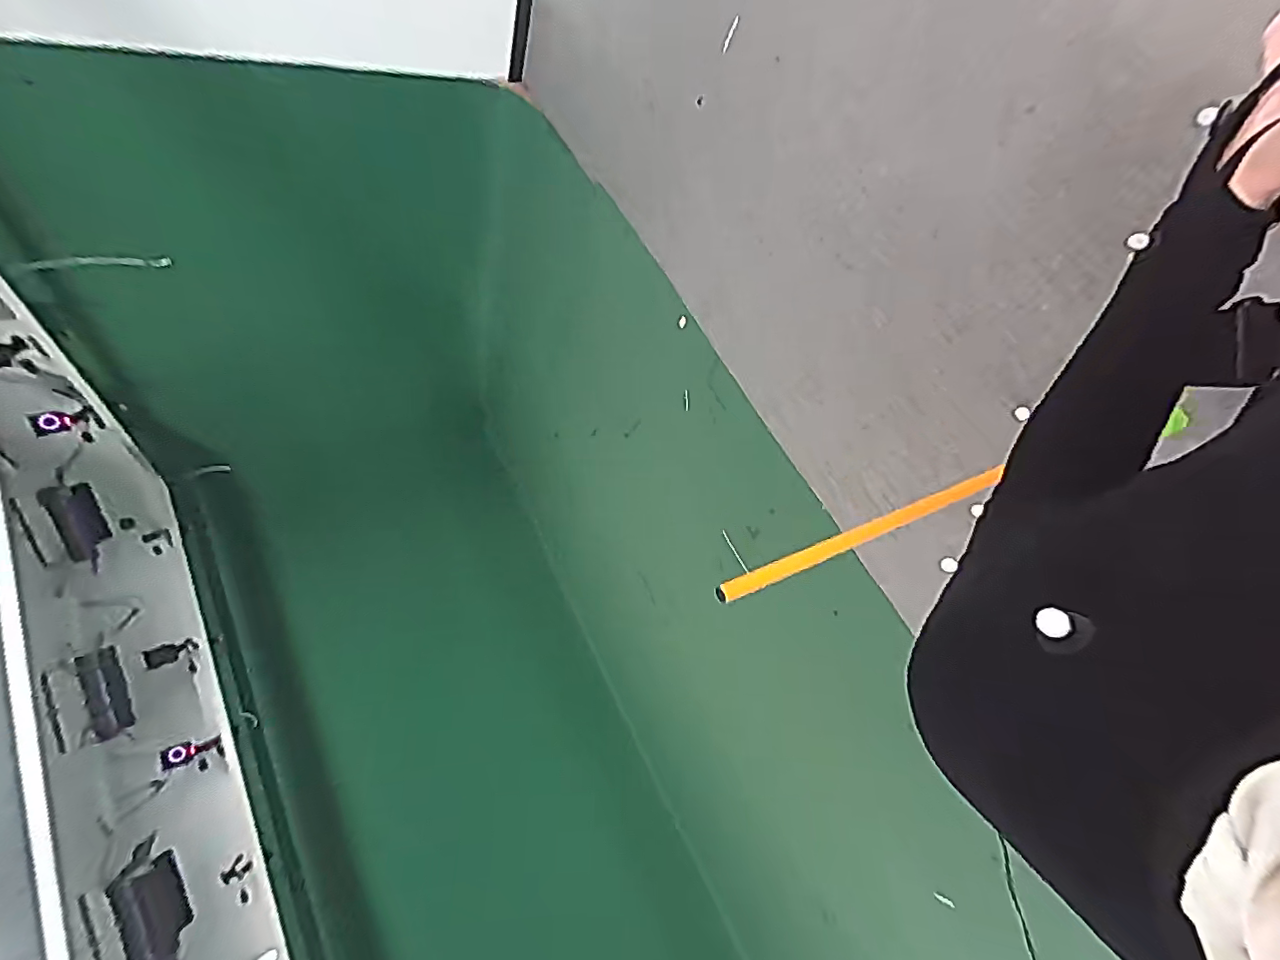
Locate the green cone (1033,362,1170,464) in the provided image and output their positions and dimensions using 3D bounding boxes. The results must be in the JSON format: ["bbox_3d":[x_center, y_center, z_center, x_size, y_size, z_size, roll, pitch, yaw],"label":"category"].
[{"bbox_3d":[0.994,-0.110,1.242,0.202,0.368,0.200,60,148,15],"label":"green cone"}]
